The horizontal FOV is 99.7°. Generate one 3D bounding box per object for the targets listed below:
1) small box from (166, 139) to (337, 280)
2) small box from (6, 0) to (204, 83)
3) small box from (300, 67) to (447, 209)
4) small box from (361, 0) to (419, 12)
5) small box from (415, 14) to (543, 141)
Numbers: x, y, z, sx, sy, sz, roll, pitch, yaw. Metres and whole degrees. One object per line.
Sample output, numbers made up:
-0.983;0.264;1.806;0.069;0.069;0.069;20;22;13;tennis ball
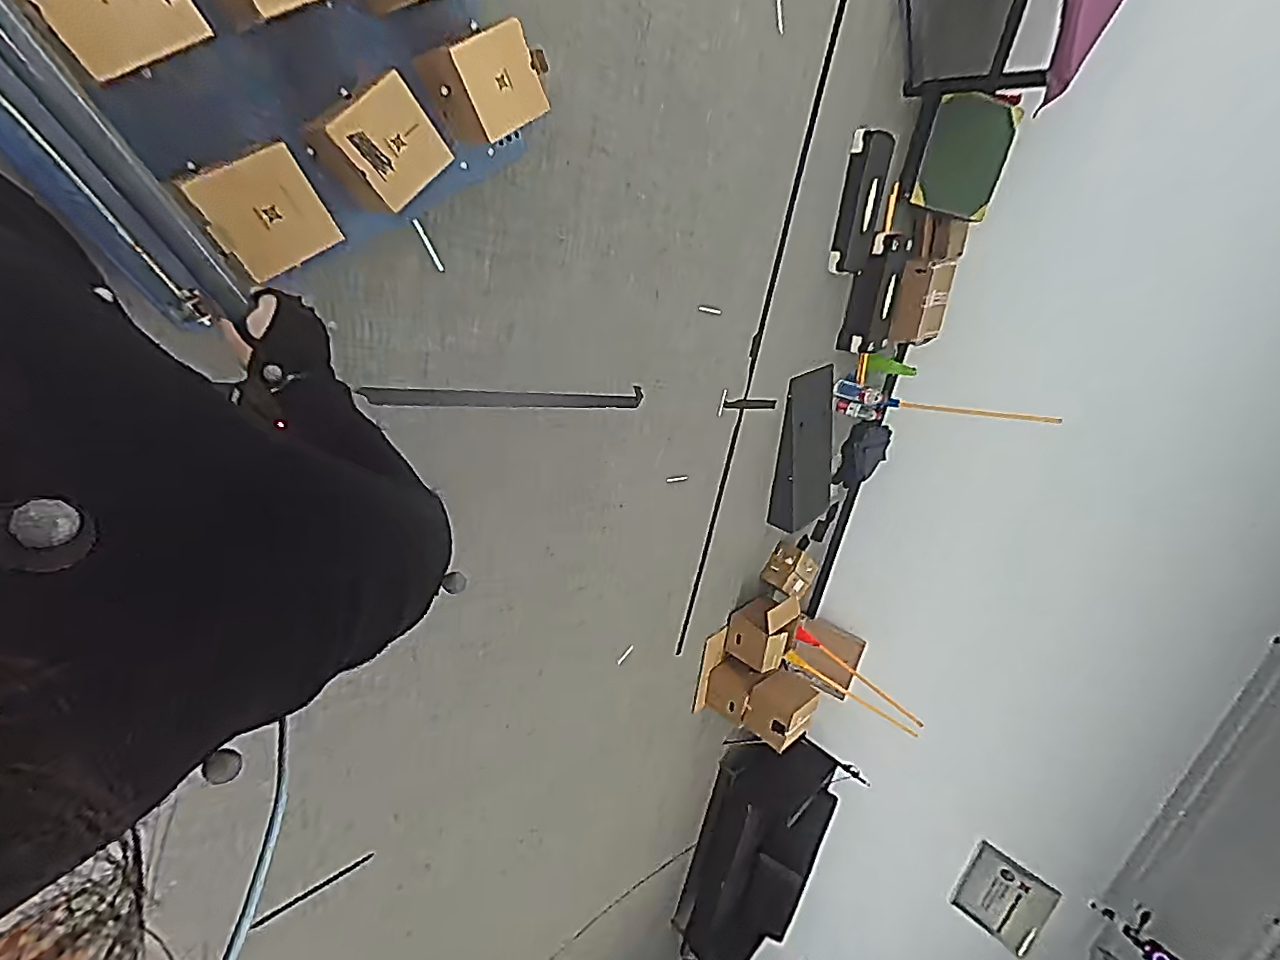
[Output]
-0.690;-0.480;0.958;0.179;0.176;0.168;-44;139;-24;small box
-0.765;-0.678;0.748;0.179;0.176;0.168;-46;141;-20;small box
-0.521;-0.654;1.048;0.179;0.176;0.168;-53;141;-14;small box
-0.426;-0.973;0.966;0.179;0.176;0.168;-42;138;-24;small box
-0.344;-0.840;1.141;0.179;0.176;0.168;-46;139;-20;small box
